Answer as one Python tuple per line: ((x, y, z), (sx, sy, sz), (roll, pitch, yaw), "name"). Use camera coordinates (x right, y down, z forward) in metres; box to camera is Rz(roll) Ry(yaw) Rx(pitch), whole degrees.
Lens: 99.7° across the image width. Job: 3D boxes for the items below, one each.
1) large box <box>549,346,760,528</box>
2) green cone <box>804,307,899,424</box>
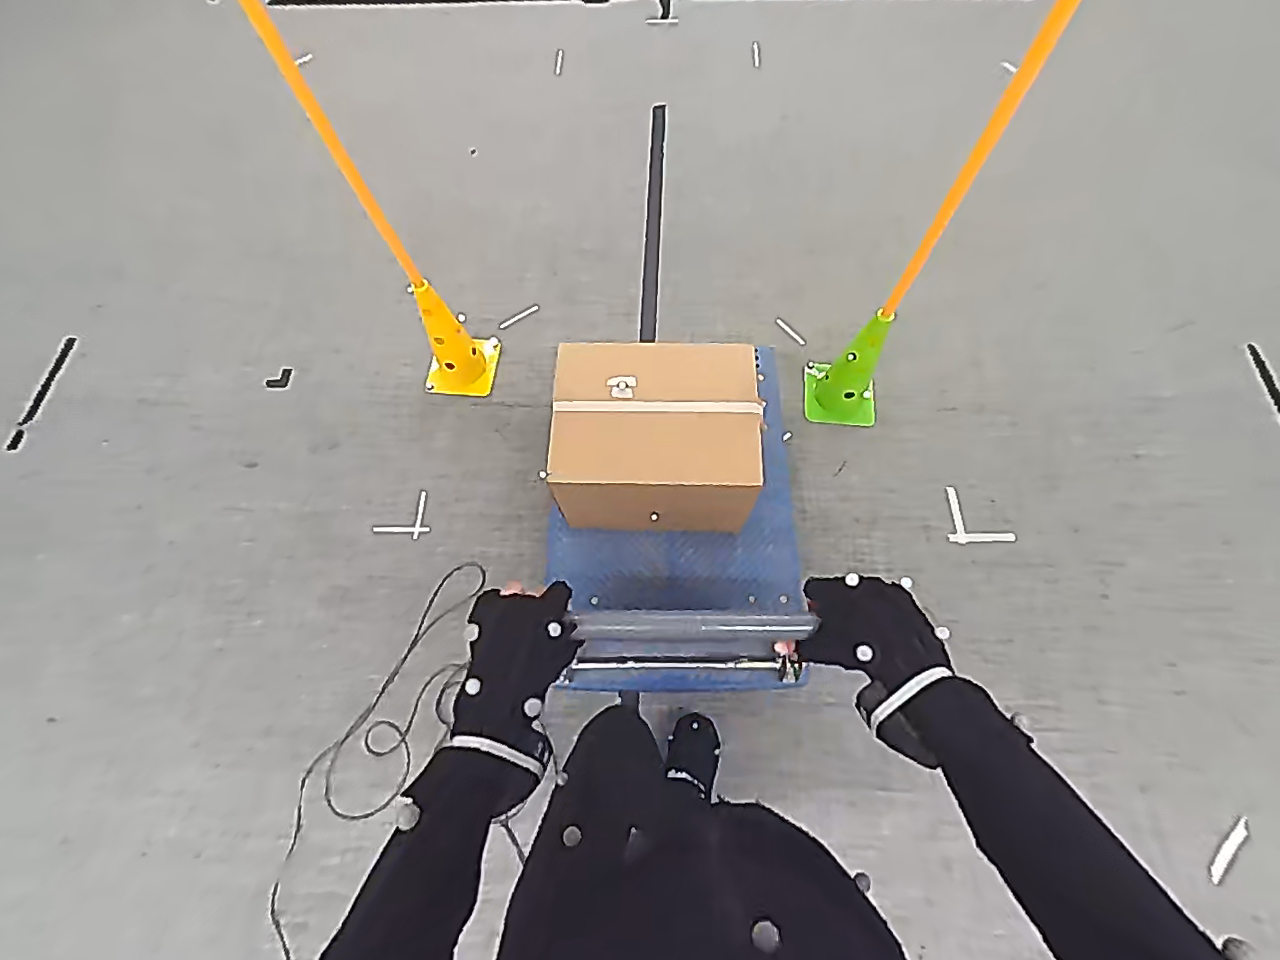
((0.035, -0.078, 1.200), (0.408, 0.320, 0.320), (1, 68, 3), "large box")
((0.587, -0.322, 1.439), (0.202, 0.368, 0.200), (6, 68, 2), "green cone")
